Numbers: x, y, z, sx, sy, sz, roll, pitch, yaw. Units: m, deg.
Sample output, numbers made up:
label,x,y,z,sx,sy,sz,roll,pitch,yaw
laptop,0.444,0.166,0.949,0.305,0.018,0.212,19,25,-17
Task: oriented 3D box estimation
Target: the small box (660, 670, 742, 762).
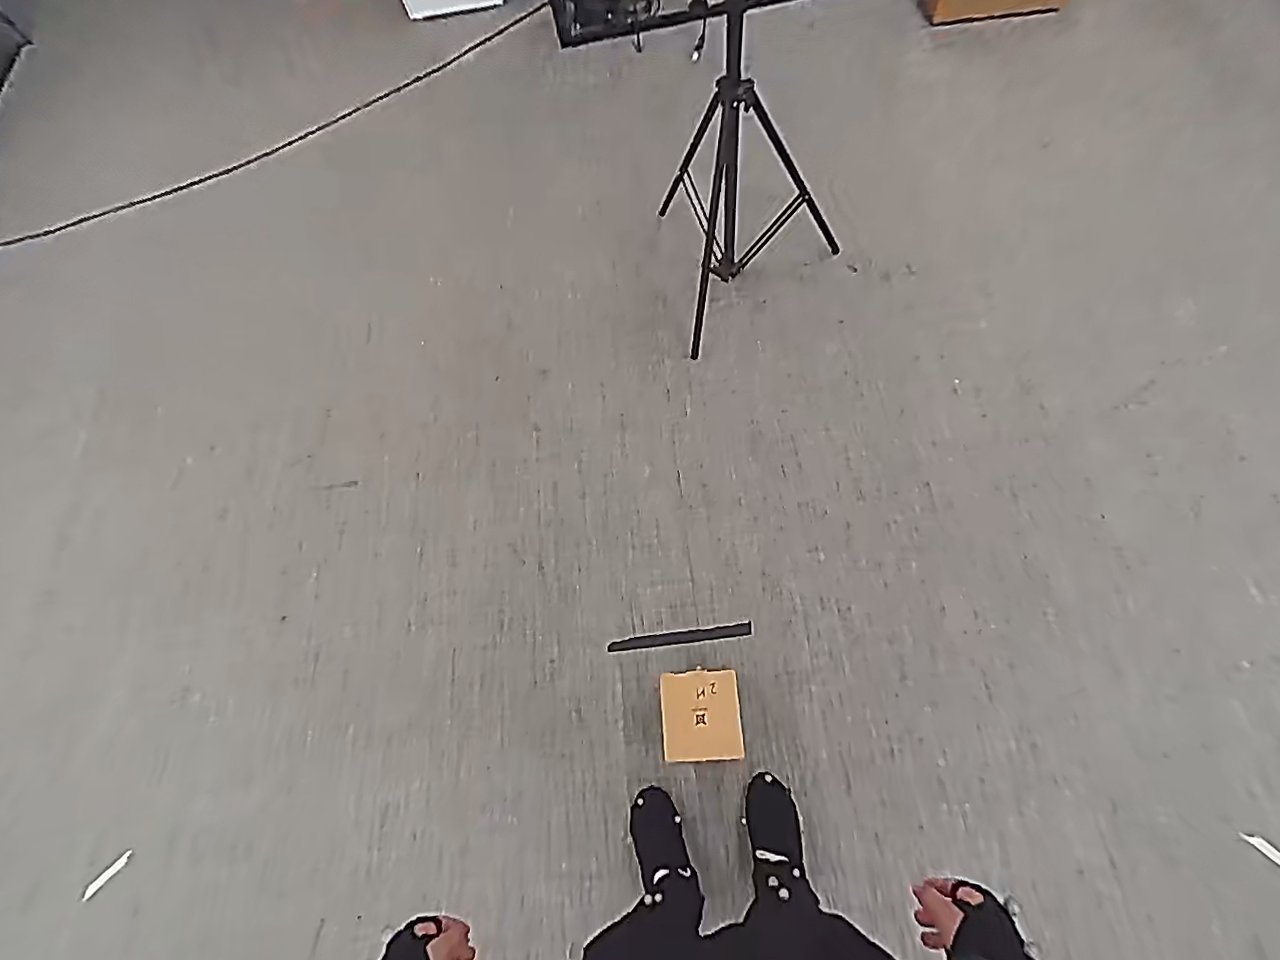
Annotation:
label,x,y,z,sx,sy,sz,roll,pitch,yaw
small box,0.138,0.522,1.212,0.168,0.176,0.179,-6,68,6
